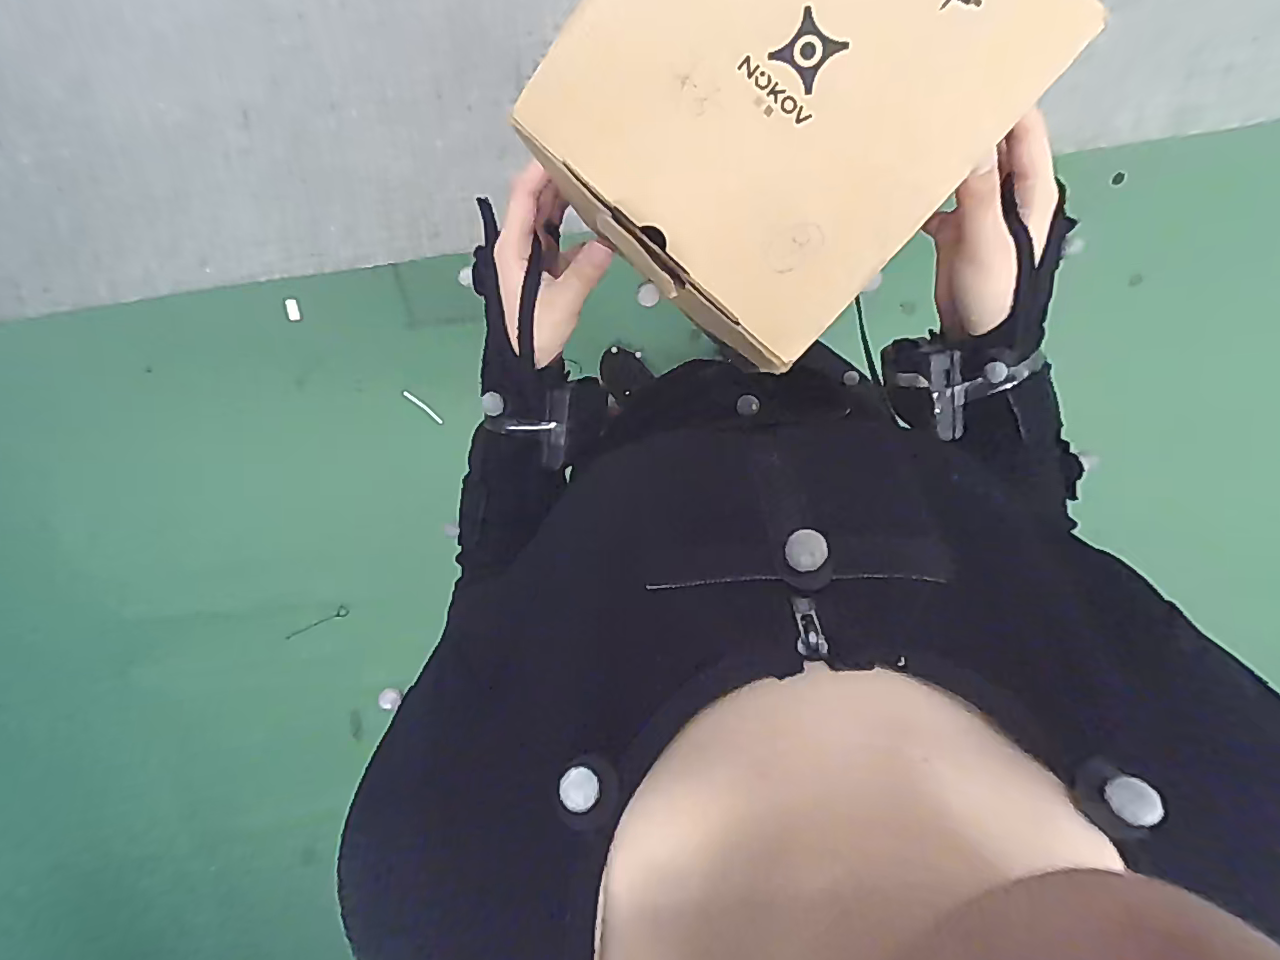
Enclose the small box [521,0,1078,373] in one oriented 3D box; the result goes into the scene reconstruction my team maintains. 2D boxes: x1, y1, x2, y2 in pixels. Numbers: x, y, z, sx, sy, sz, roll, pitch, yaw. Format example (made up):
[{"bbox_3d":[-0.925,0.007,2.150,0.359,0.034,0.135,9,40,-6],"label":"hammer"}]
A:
[{"bbox_3d":[0.070,-0.179,0.307,0.168,0.176,0.179,41,103,-3],"label":"small box"}]
